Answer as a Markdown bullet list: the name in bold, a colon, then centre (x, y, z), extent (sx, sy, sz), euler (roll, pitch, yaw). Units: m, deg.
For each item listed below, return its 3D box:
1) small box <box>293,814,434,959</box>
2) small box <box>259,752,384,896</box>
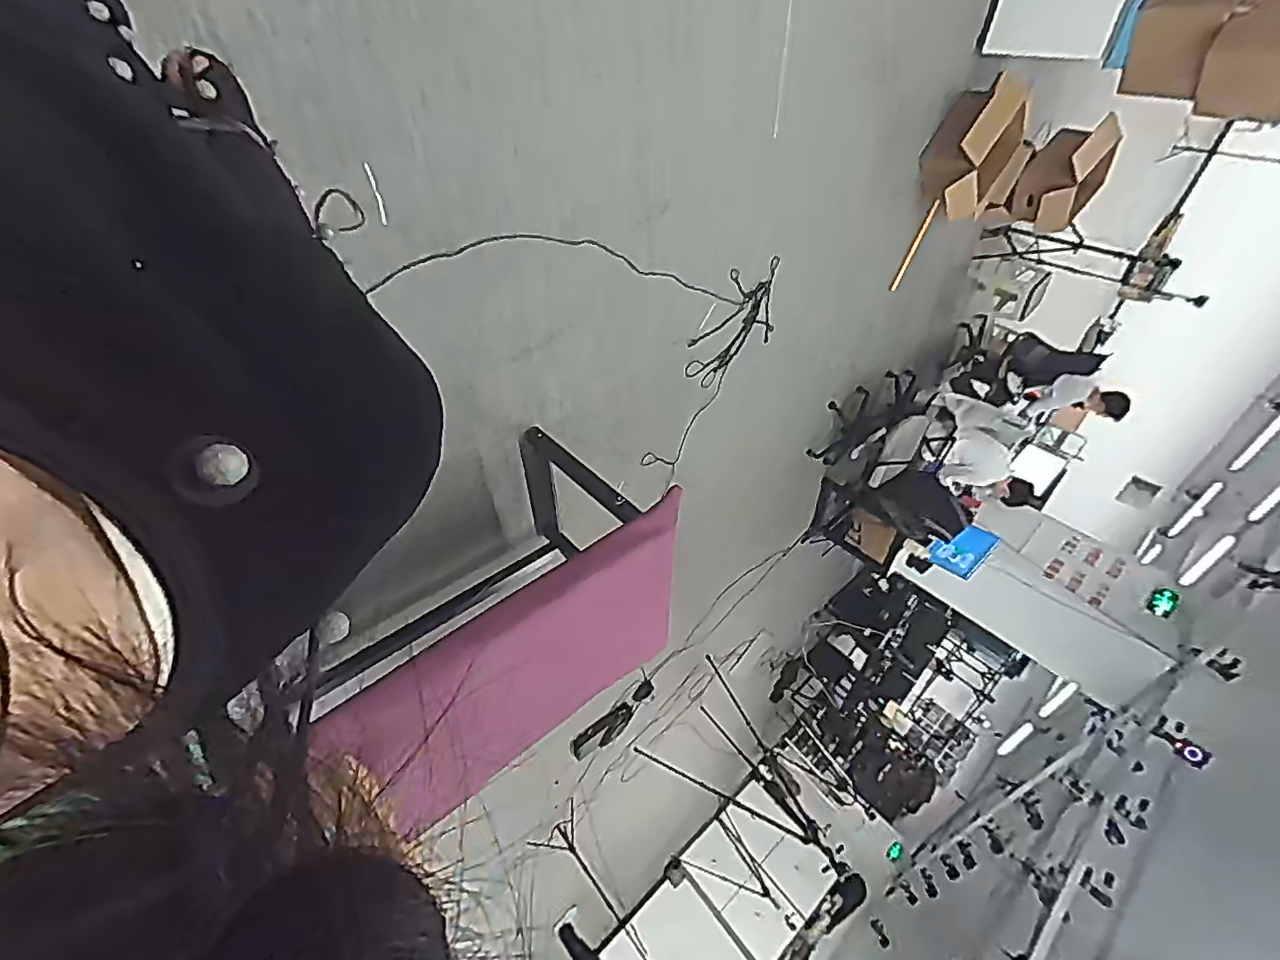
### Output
- **small box**: centre (-0.522, 0.784, 1.019), extent (0.179, 0.176, 0.168), euler (-30, 140, -32)
- **small box**: centre (-0.639, 0.702, 1.100), extent (0.179, 0.176, 0.168), euler (-33, 141, -26)
